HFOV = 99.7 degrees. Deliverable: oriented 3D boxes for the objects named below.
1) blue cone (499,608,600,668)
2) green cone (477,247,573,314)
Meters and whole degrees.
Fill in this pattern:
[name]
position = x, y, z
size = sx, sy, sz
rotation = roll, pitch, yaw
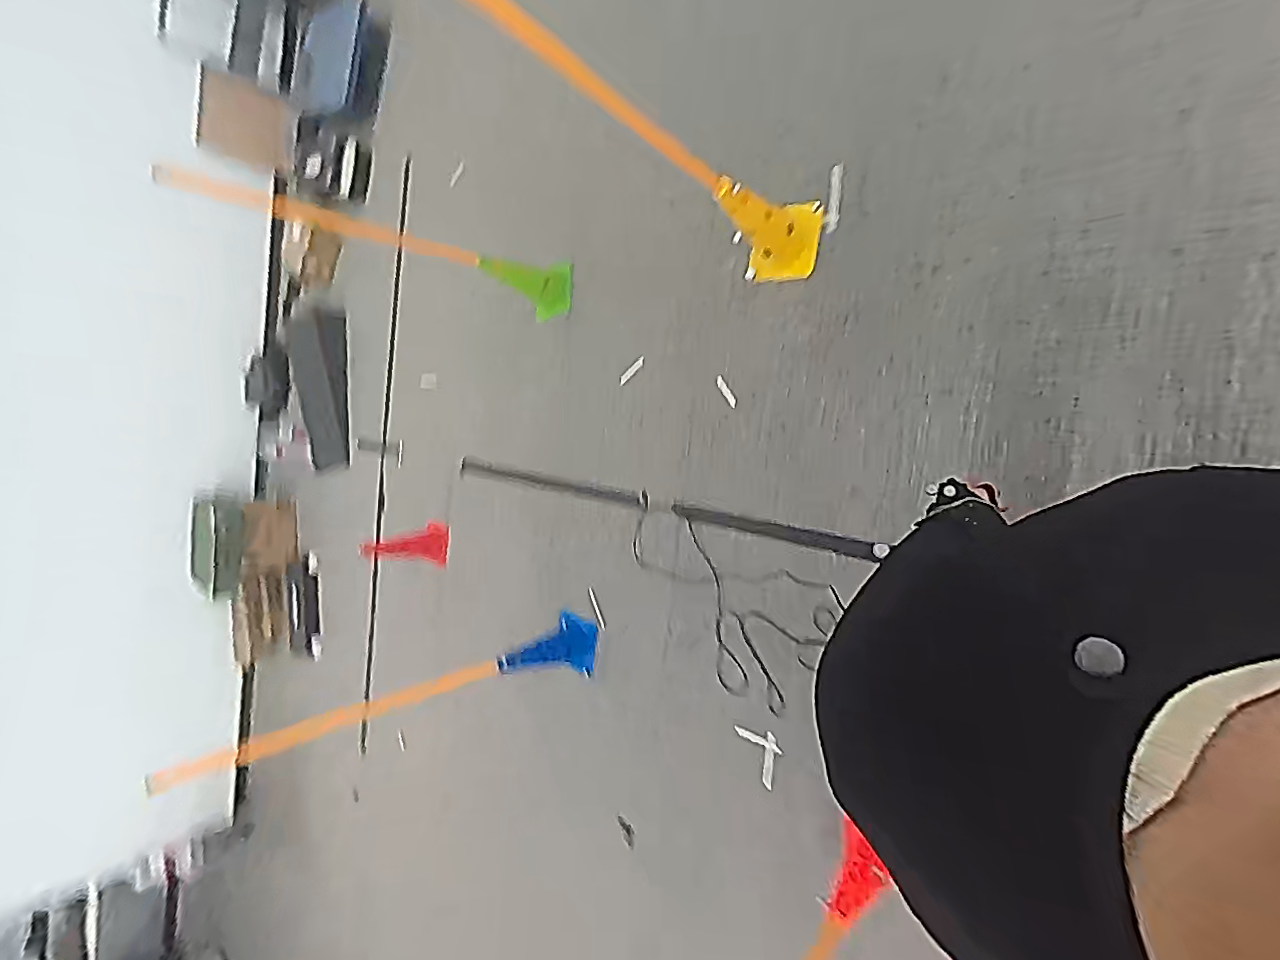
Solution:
[blue cone]
position = -0.333, 0.582, 1.882
size = 0.192, 0.380, 0.193
rotation = 14, 98, 39
[green cone]
position = -0.443, -0.774, 2.000
size = 0.202, 0.368, 0.200
rotation = -3, 87, 38
